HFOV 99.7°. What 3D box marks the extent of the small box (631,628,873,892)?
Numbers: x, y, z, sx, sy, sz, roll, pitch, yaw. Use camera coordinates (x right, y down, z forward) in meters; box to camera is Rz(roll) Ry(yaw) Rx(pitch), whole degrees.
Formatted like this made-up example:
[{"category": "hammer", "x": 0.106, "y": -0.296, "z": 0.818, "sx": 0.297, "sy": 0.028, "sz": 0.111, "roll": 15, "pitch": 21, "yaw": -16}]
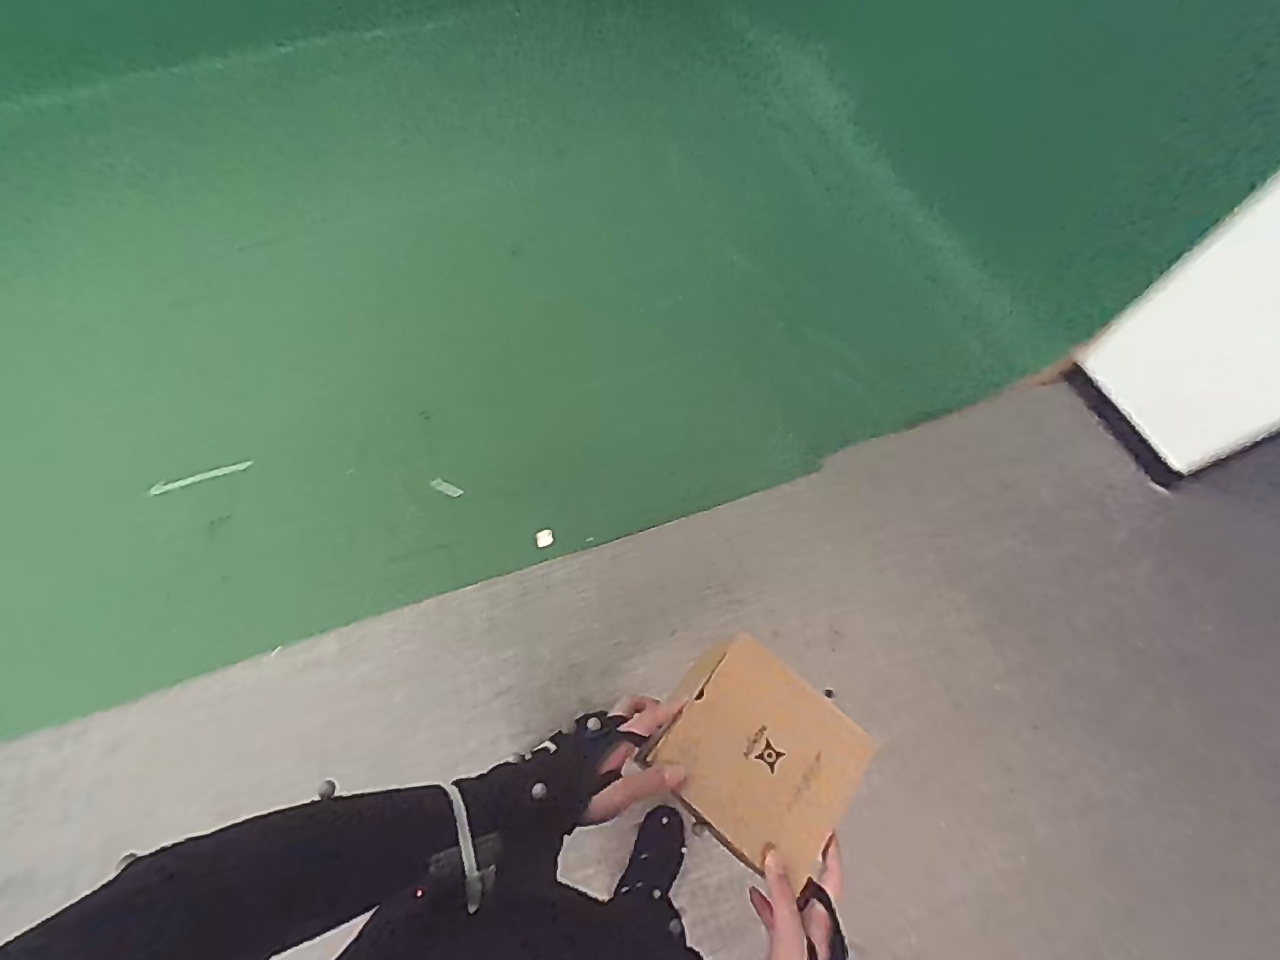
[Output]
[{"category": "small box", "x": 0.108, "y": 0.296, "z": 0.597, "sx": 0.179, "sy": 0.176, "sz": 0.168, "roll": 39, "pitch": 66, "yaw": 9}]
